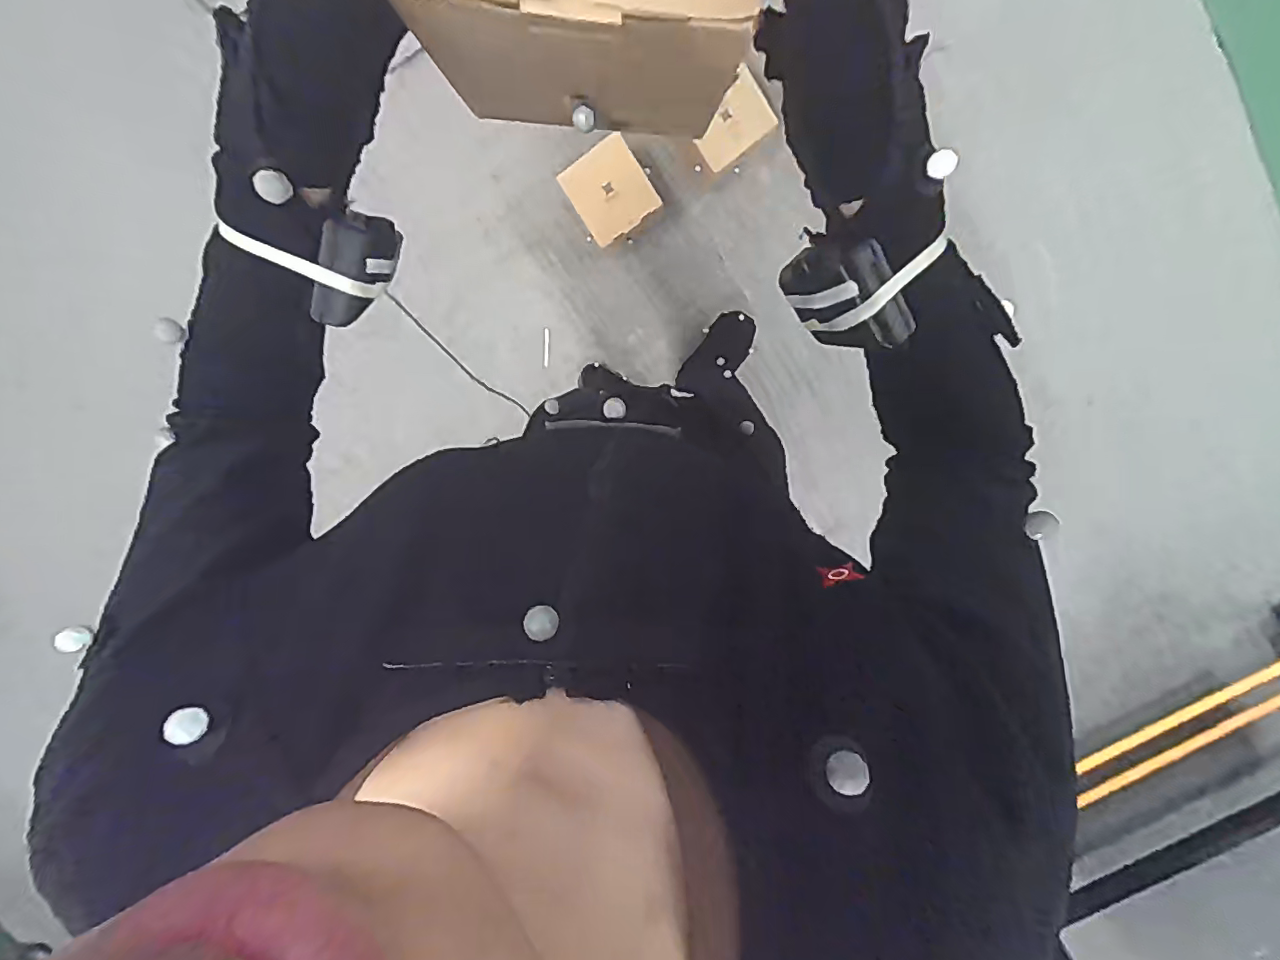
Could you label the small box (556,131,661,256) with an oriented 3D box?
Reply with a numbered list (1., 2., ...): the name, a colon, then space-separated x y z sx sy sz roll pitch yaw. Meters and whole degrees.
1. small box: -0.068 -0.642 1.240 0.168 0.176 0.179 -34 102 9
